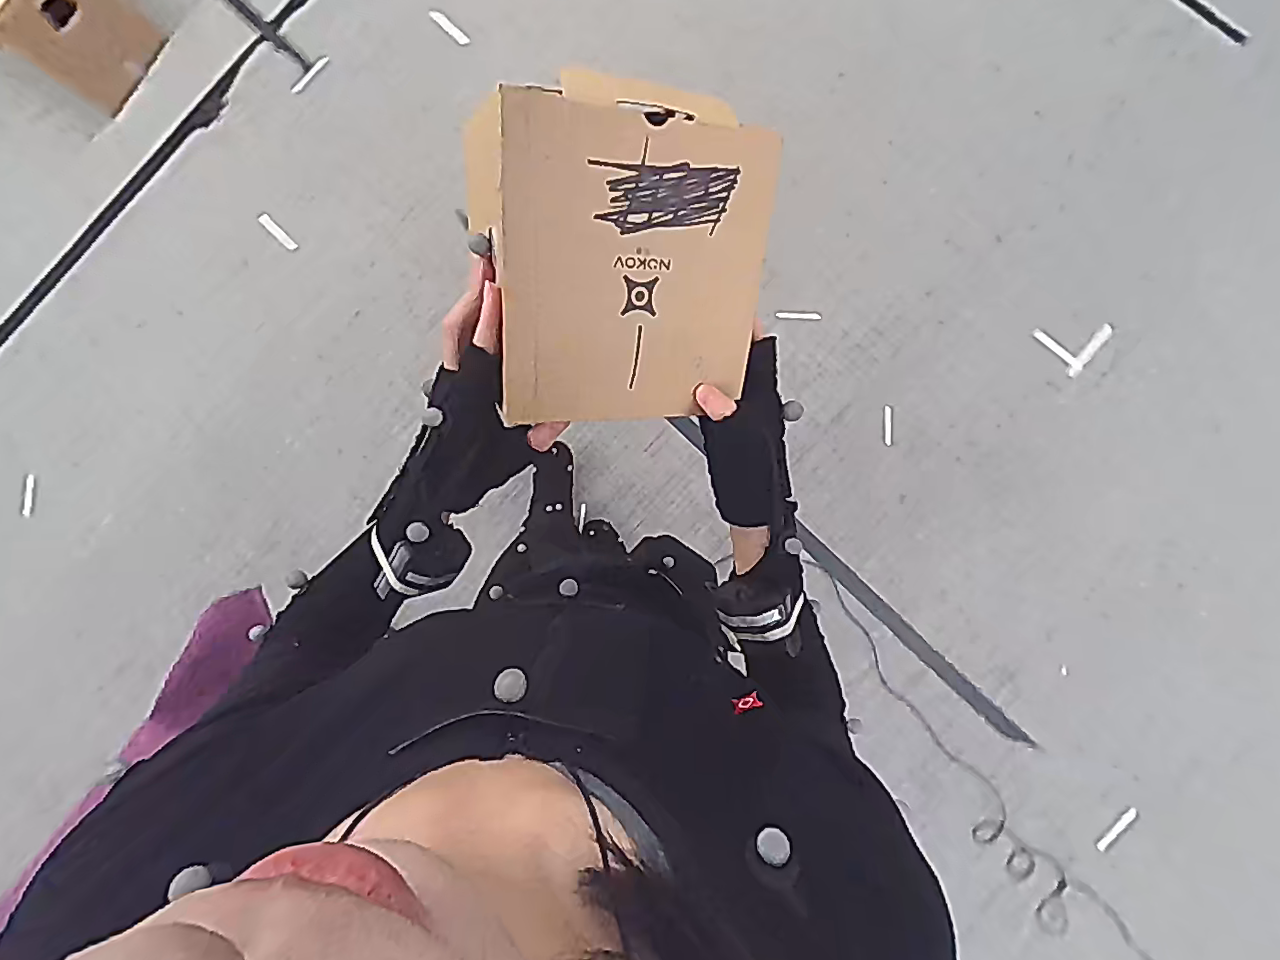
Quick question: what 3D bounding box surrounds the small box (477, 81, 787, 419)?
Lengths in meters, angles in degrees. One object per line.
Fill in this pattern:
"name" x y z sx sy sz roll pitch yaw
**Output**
"small box" -0.024 -0.154 0.393 0.168 0.176 0.179 -4 117 -22
